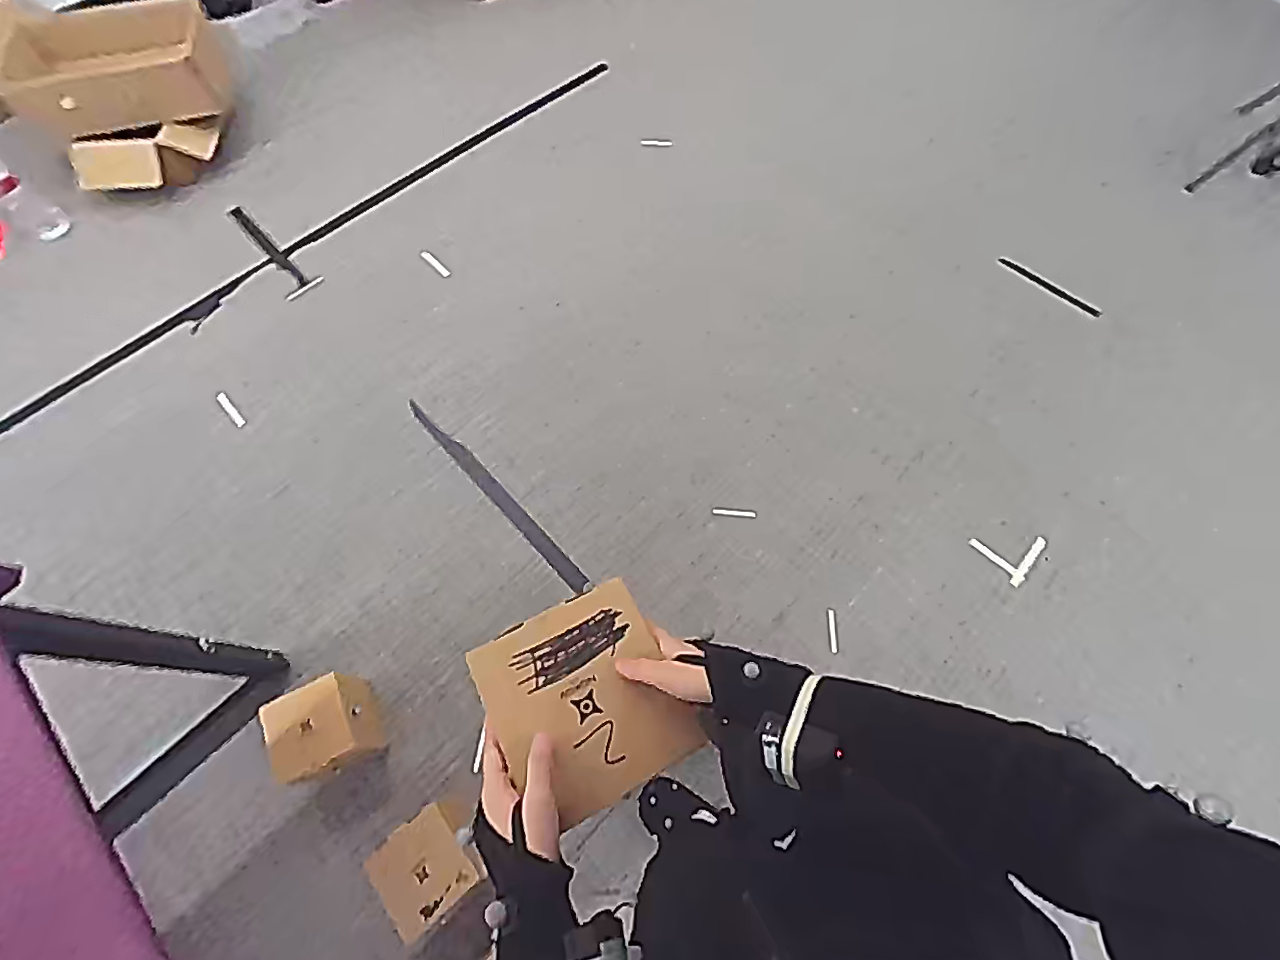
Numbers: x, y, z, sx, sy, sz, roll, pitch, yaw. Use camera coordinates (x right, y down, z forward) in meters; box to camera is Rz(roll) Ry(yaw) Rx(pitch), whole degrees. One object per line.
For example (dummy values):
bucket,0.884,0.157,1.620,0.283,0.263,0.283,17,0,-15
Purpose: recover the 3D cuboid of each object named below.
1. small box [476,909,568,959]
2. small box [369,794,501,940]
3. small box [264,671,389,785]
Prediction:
small box,-0.237,0.986,1.041,0.168,0.176,0.179,-41,72,-17
small box,-0.418,0.788,1.128,0.168,0.176,0.179,-38,71,-15
small box,-0.705,0.560,1.230,0.168,0.176,0.179,-26,70,-11
